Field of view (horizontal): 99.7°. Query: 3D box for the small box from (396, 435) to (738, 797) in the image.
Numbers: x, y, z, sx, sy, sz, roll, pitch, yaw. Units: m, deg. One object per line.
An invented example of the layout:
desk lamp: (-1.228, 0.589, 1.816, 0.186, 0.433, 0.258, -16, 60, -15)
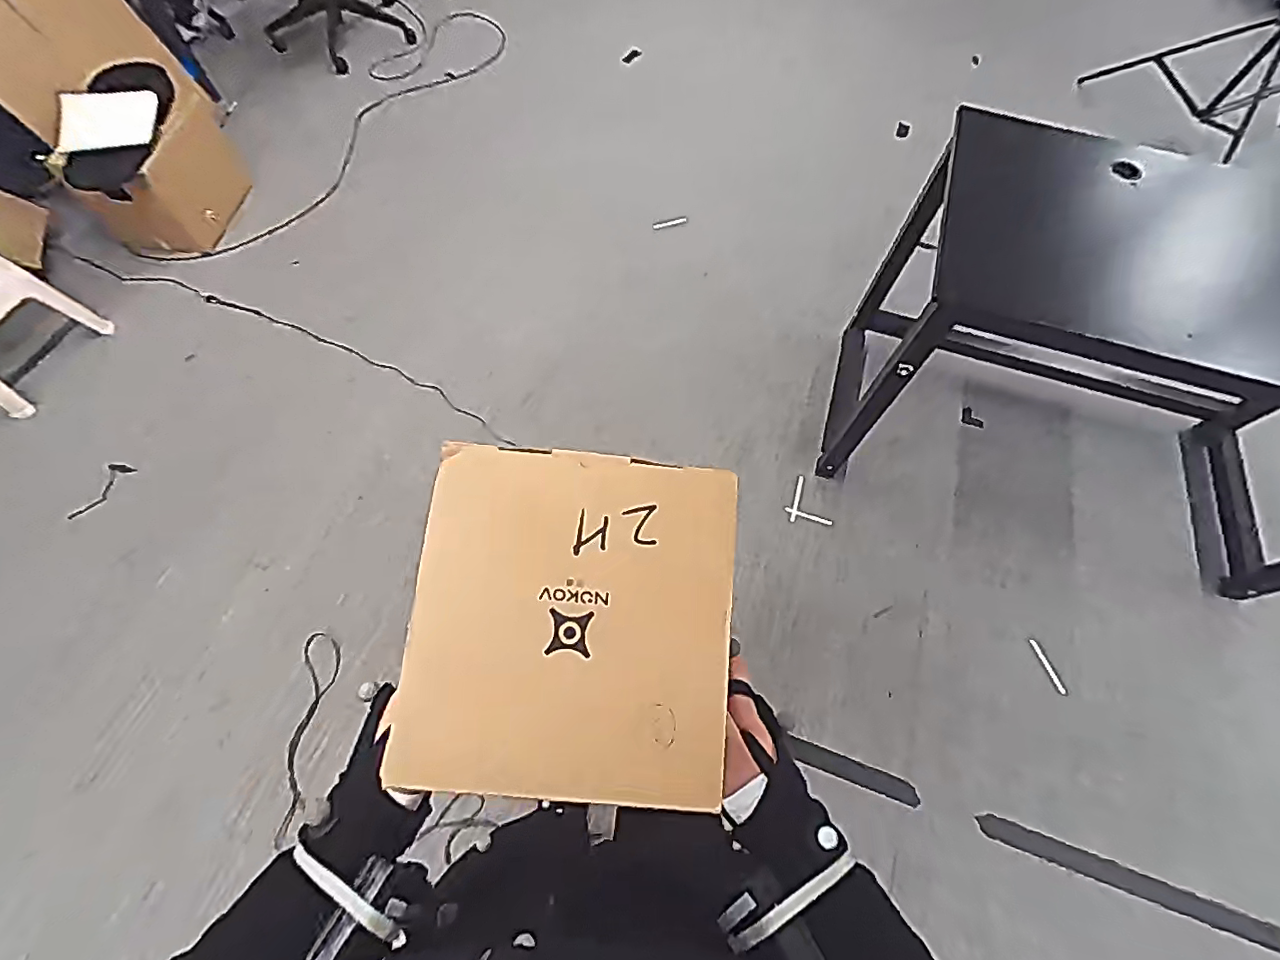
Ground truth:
small box: (-0.037, 0.085, 0.366, 0.168, 0.176, 0.179, 6, 76, -3)
